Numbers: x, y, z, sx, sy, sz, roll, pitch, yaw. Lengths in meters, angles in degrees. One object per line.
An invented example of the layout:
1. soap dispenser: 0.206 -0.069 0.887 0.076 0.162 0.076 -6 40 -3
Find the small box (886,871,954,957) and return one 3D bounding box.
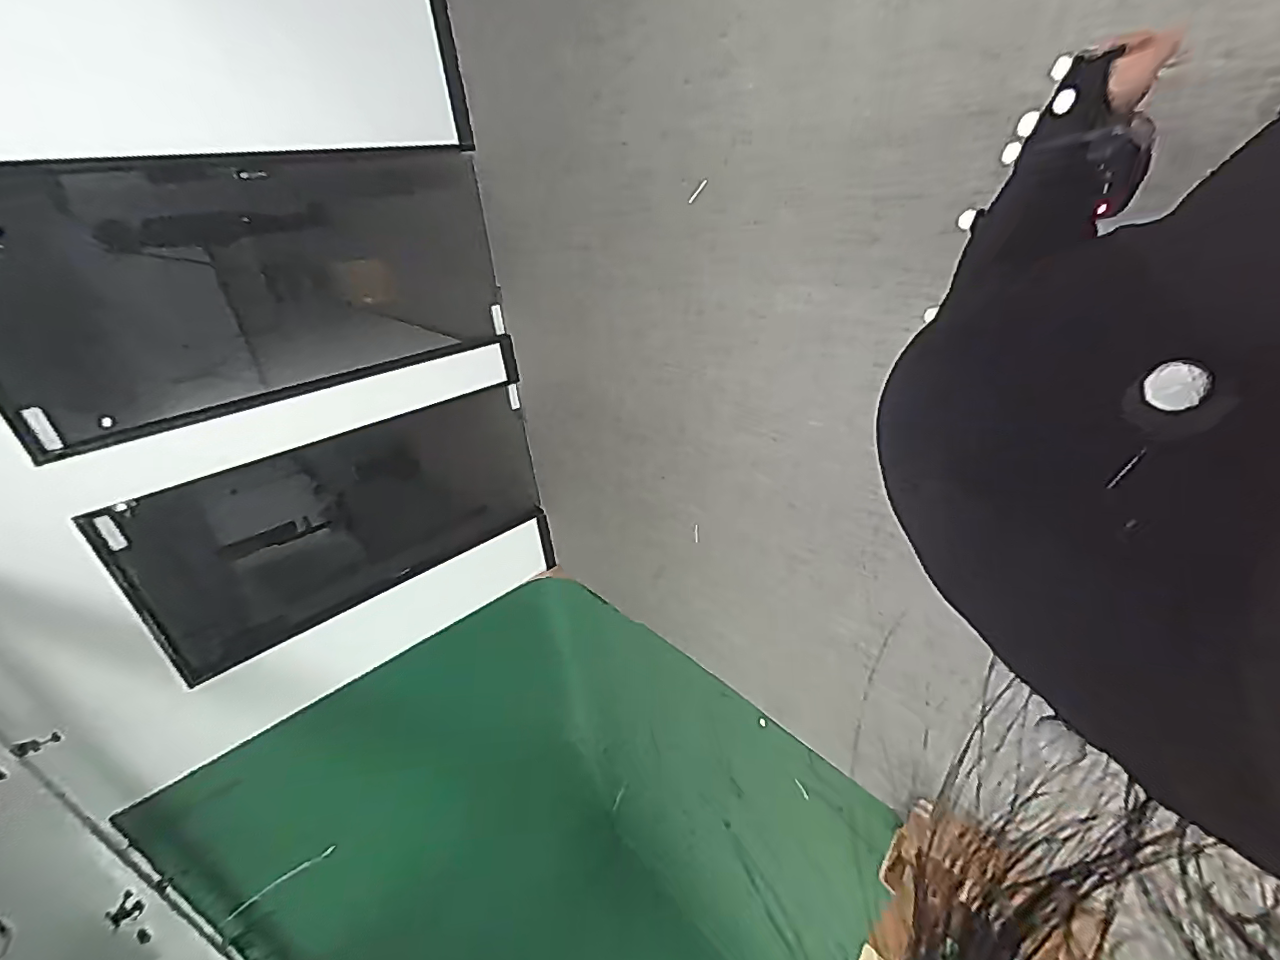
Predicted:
1. small box: 0.961 1.528 1.885 0.168 0.176 0.179 29 131 39

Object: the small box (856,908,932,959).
1. small box: 0.839 1.585 1.791 0.168 0.176 0.179 26 131 41

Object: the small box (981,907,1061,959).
1. small box: 1.270 1.598 1.806 0.168 0.176 0.179 25 129 45
